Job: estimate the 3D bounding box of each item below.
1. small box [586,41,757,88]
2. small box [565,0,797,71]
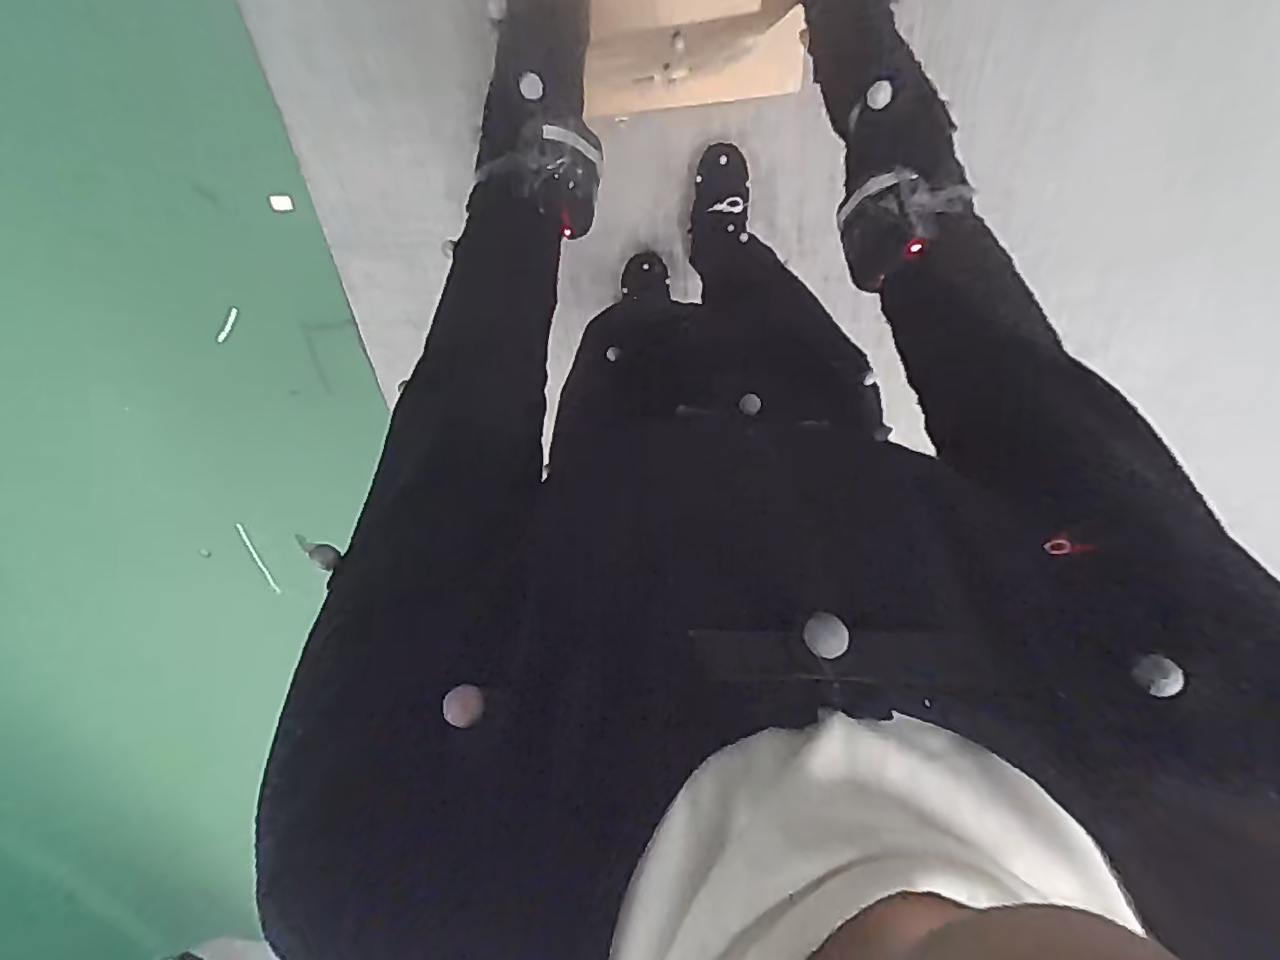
[{"bbox_3d":[0.029,-0.535,0.582,0.179,0.176,0.168,-3,123,7],"label":"small box"},{"bbox_3d":[0.027,-0.453,0.443,0.179,0.176,0.168,-6,124,6],"label":"small box"}]
